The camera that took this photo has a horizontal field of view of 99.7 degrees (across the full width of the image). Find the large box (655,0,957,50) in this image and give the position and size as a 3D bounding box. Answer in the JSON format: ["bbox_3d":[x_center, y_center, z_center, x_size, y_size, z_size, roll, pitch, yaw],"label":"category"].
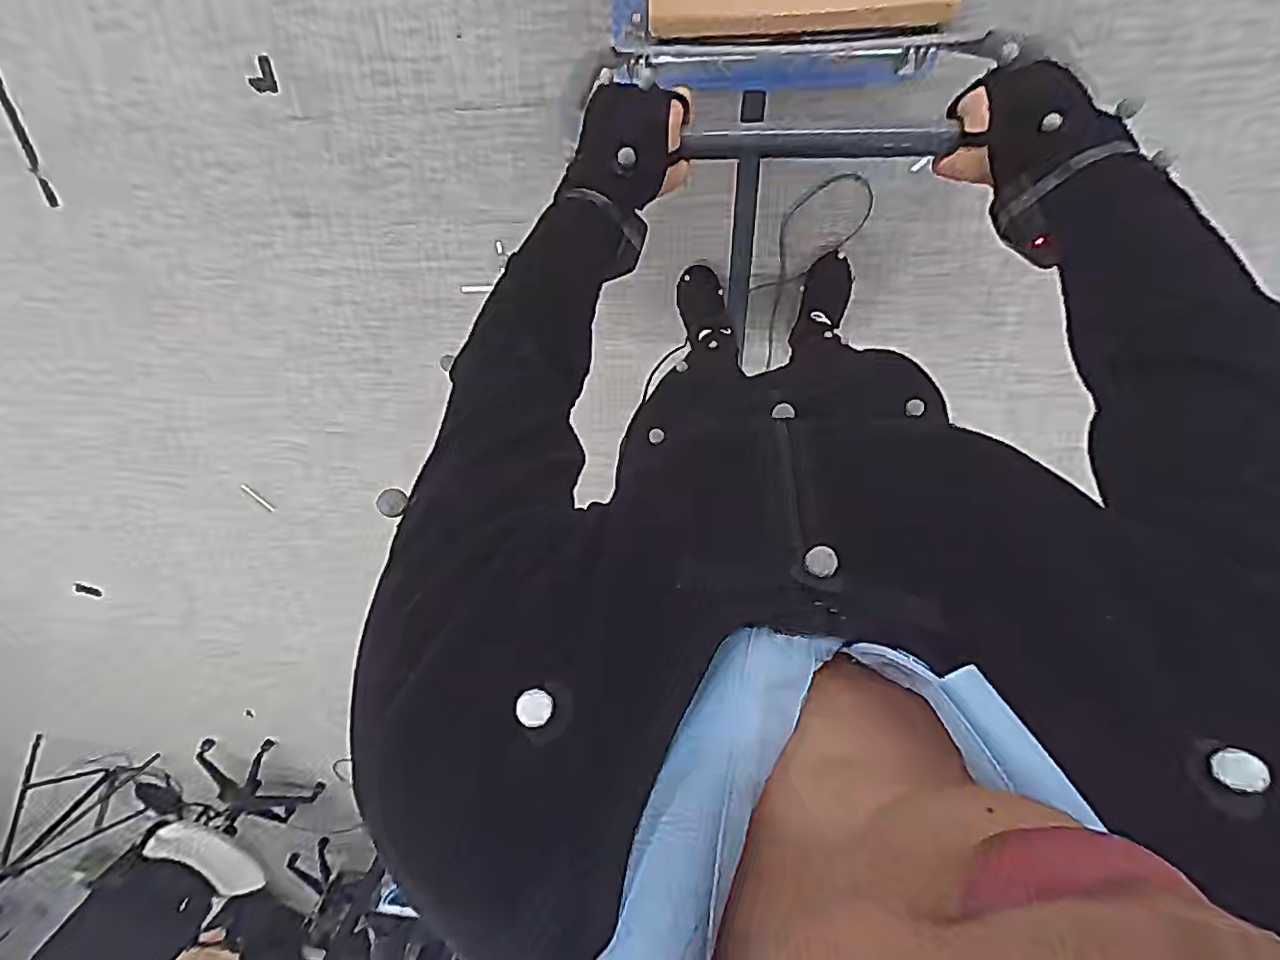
[{"bbox_3d":[0.227,-0.828,0.770,0.408,0.320,0.320,2,128,6],"label":"large box"}]
